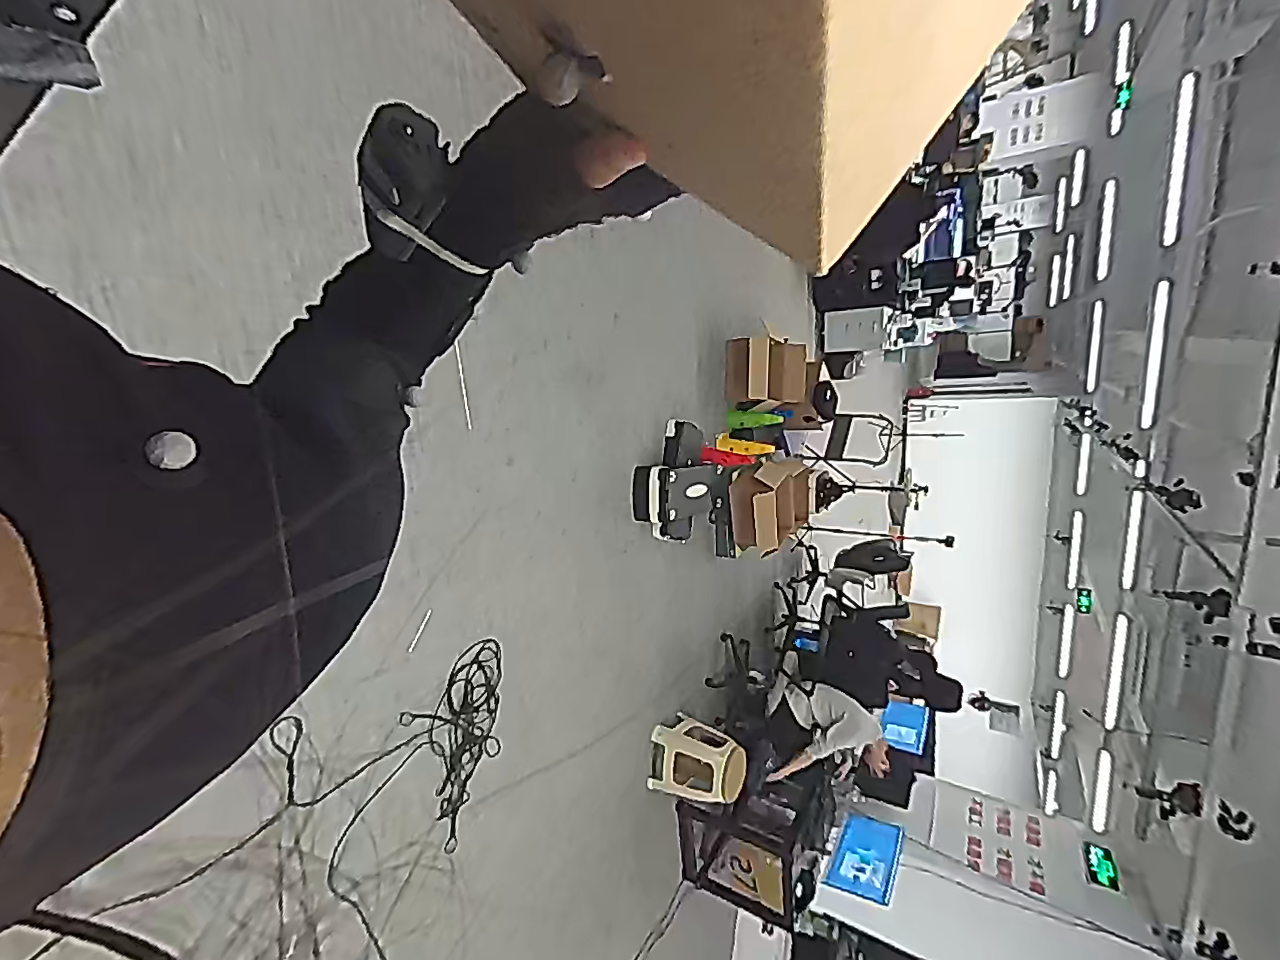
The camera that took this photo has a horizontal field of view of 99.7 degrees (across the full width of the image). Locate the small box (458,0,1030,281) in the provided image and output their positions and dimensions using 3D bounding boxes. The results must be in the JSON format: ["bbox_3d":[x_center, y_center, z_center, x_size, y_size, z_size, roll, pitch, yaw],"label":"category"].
[{"bbox_3d":[0.031,-0.190,0.143,0.179,0.176,0.168,-55,170,16],"label":"small box"}]
